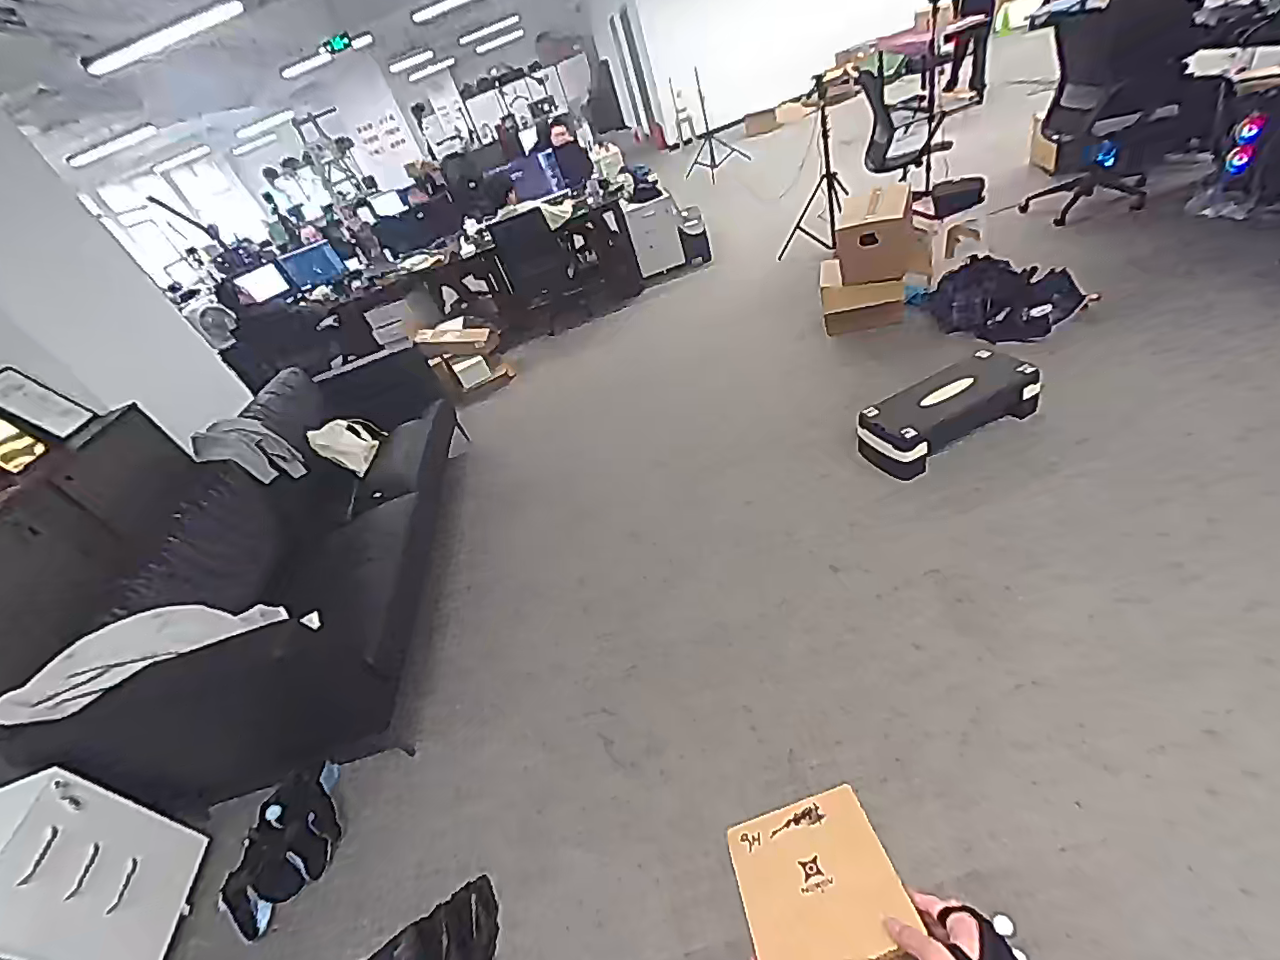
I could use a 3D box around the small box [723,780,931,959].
[{"bbox_3d":[0.215,0.494,0.612,0.168,0.176,0.179,-23,20,4],"label":"small box"}]
